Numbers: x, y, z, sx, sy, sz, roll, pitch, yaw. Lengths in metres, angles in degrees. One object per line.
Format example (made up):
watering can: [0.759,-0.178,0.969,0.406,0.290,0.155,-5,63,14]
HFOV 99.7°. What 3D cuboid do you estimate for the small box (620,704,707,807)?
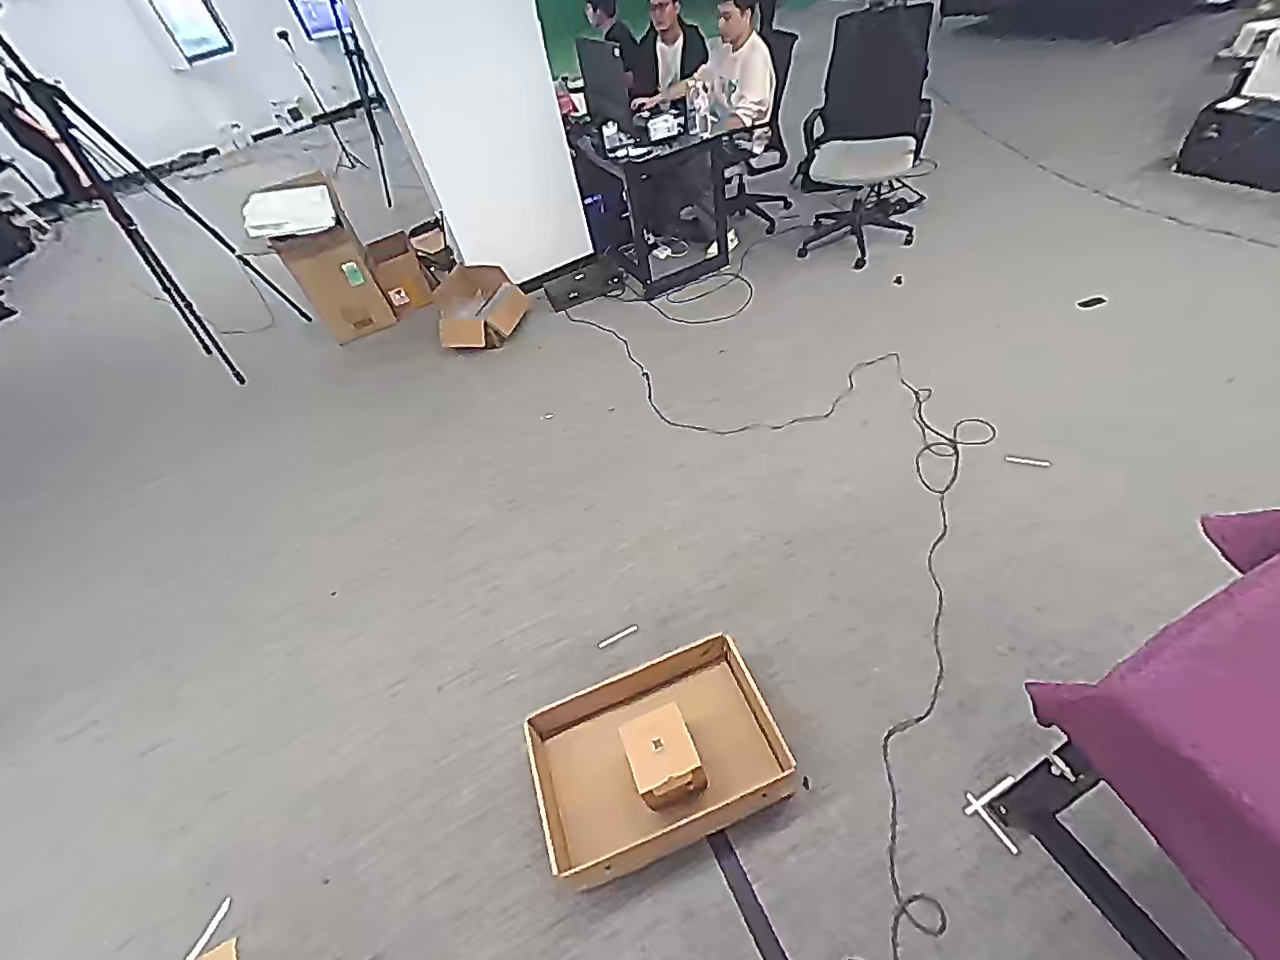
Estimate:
small box: [0.064,0.719,1.401,0.168,0.176,0.179,-21,46,-7]
